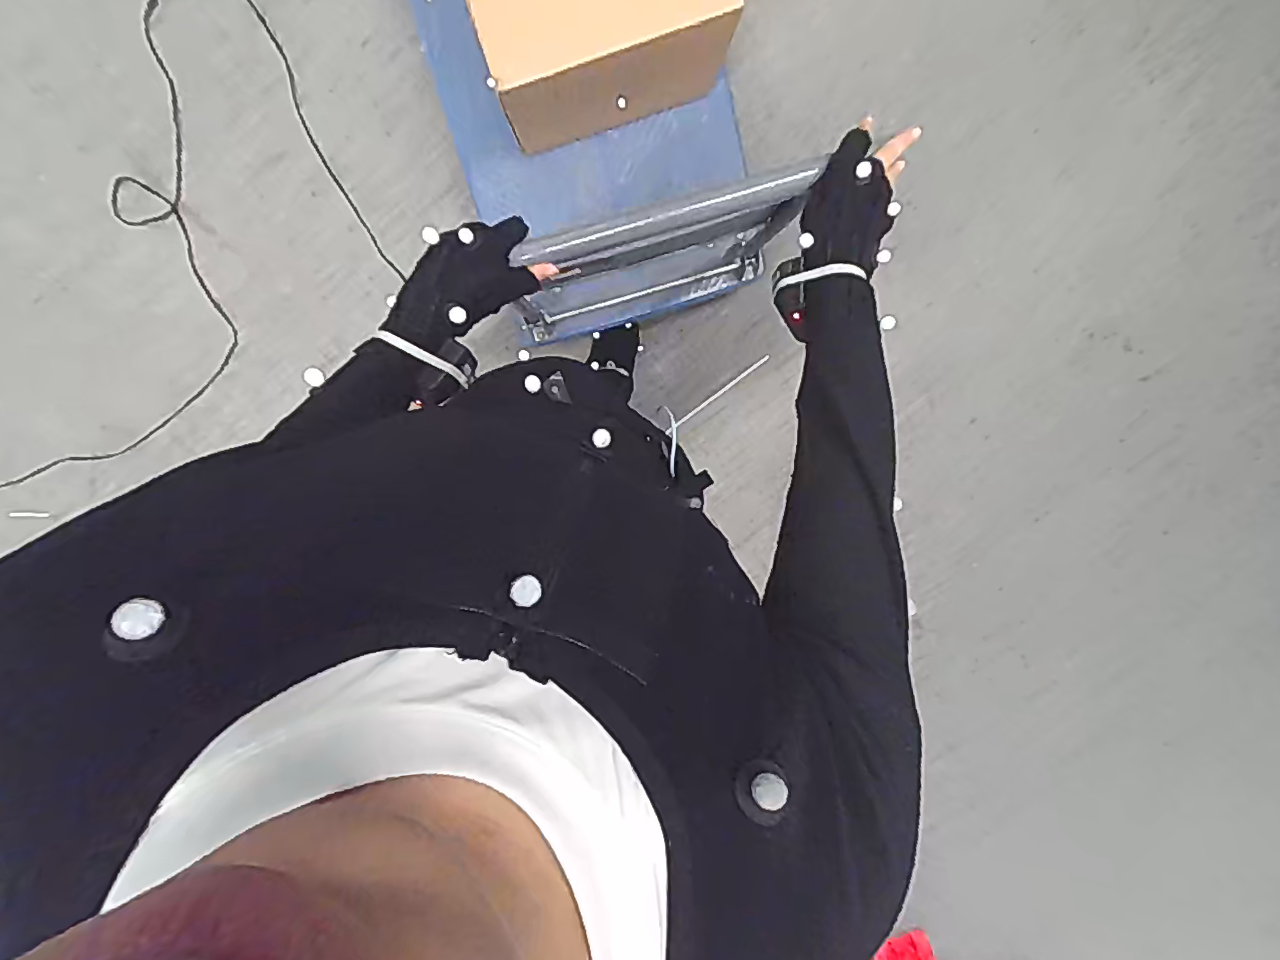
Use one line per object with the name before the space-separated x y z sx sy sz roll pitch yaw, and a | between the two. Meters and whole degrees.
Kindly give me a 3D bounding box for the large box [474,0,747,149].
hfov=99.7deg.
large box | -0.074 -0.846 0.937 0.408 0.320 0.320 -18 104 2
